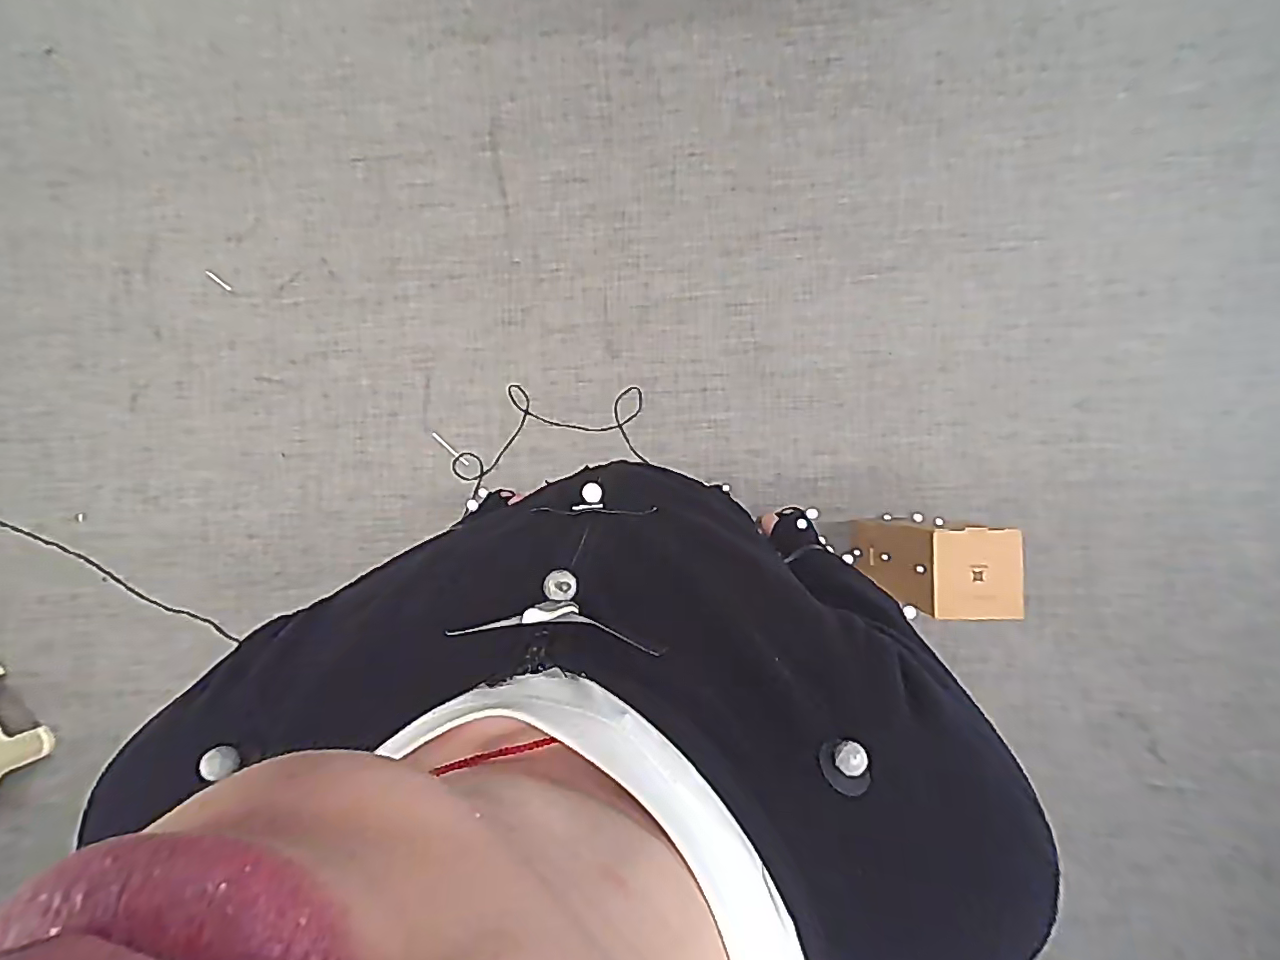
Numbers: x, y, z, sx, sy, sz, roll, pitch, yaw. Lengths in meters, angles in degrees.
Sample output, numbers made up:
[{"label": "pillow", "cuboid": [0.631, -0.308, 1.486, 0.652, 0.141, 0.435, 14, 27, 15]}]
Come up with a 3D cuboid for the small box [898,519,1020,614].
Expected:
[{"label": "small box", "cuboid": [0.653, 0.172, 1.125, 0.168, 0.176, 0.179, -1, 92, 4]}]

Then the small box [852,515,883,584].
[{"label": "small box", "cuboid": [0.678, 0.183, 1.450, 0.179, 0.176, 0.168, -1, 91, 4]}]

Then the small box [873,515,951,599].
[{"label": "small box", "cuboid": [0.667, 0.177, 1.286, 0.168, 0.176, 0.179, -2, 90, 3]}]
